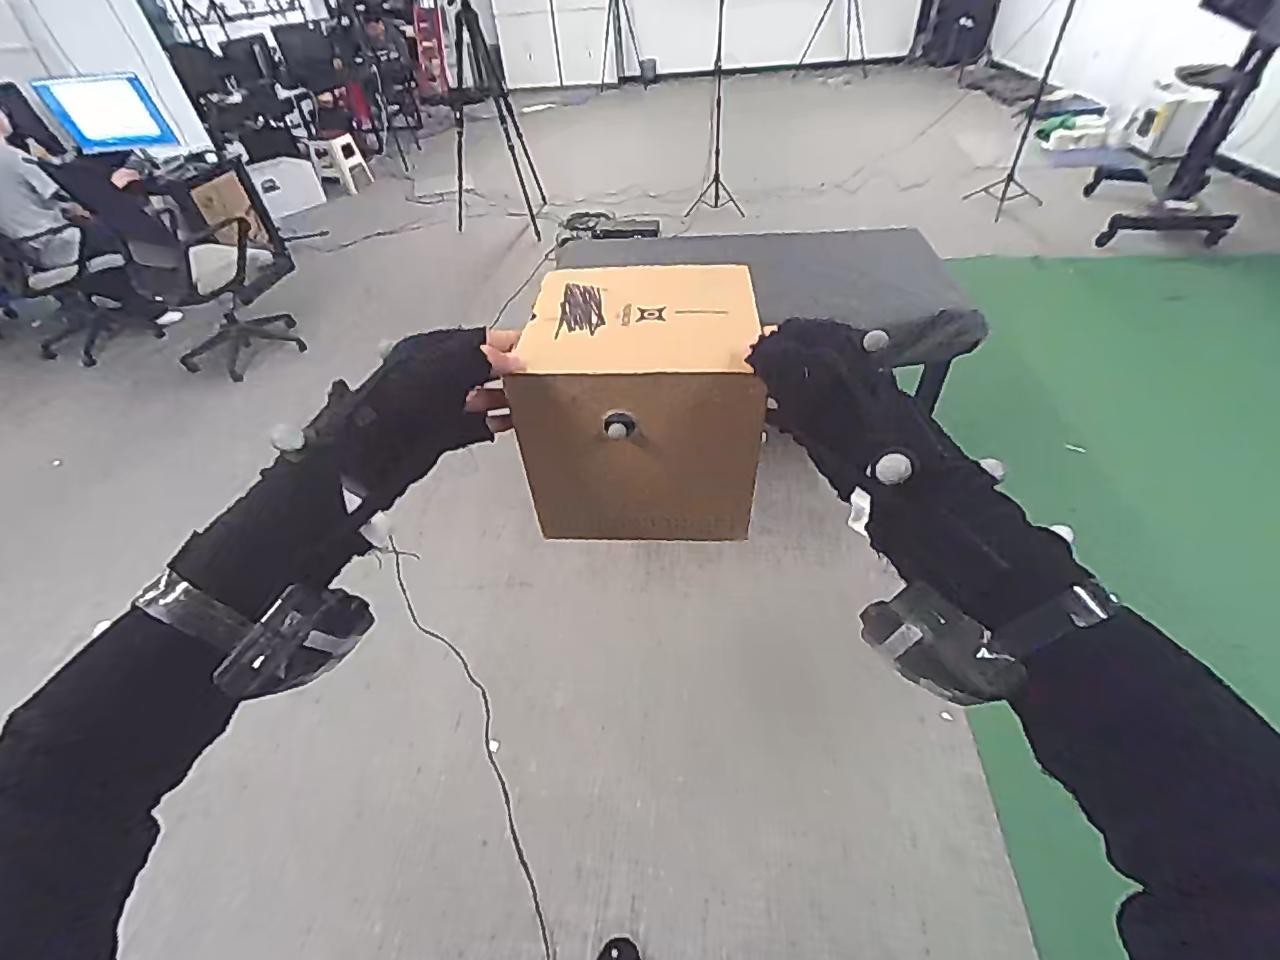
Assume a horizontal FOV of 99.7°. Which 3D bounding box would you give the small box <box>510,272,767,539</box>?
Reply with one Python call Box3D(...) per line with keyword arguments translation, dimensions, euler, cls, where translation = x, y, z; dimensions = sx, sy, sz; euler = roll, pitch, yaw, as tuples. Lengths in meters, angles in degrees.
Box3D(translation=(0.007, -0.063, 0.468), dimensions=(0.179, 0.176, 0.168), euler=(1, 44, 4), cls="small box")
